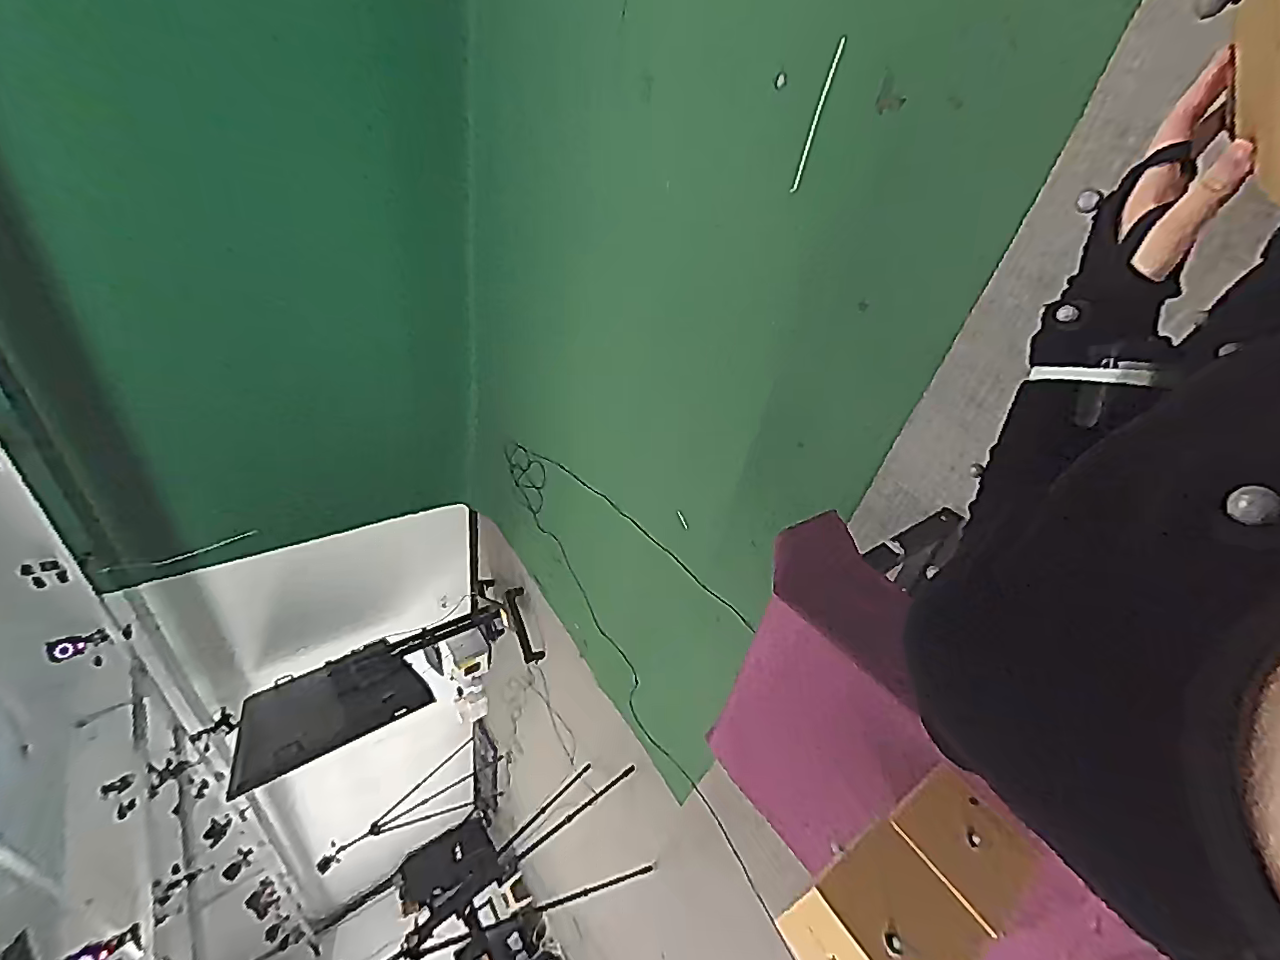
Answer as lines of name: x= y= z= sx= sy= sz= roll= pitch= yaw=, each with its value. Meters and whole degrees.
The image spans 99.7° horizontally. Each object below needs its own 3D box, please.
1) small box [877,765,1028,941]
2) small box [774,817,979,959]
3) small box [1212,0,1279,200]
small box: x=0.466 y=0.592 z=0.850 sx=0.168 sy=0.176 sz=0.179 roll=45 pitch=137 yaw=35
small box: x=0.330 y=0.629 z=0.764 sx=0.179 sy=0.176 sz=0.168 roll=46 pitch=137 yaw=35
small box: x=0.383 y=-0.266 z=0.237 sx=0.168 sy=0.176 sz=0.179 roll=-5 pitch=126 yaw=42
